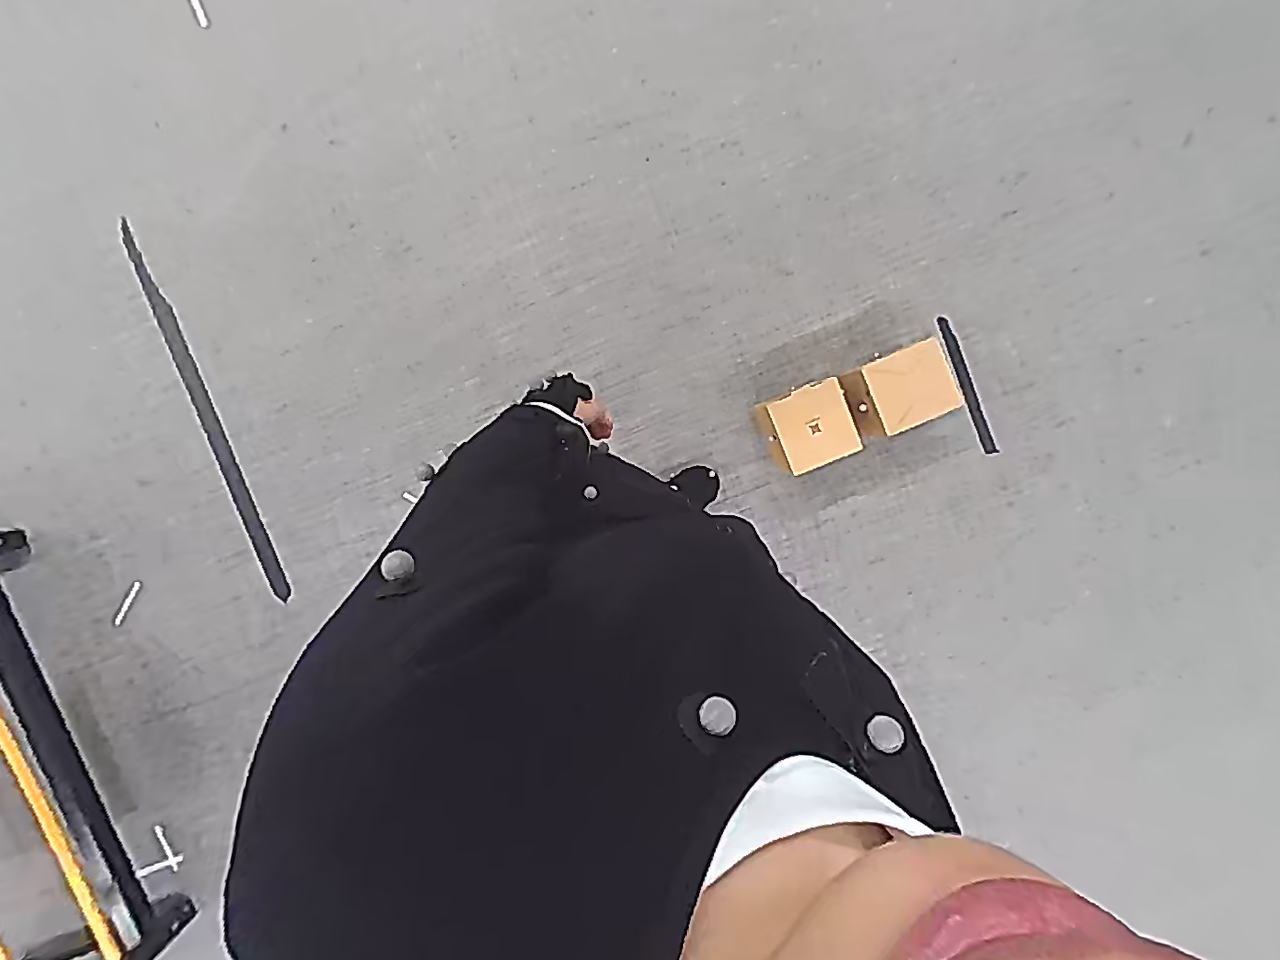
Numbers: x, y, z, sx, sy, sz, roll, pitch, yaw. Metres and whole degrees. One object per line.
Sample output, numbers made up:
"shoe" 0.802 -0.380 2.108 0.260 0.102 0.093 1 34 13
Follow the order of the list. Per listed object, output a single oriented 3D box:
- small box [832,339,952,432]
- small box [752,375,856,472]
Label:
"small box" 0.588 -0.219 1.268 0.179 0.176 0.168 -23 94 3
"small box" 0.382 -0.134 1.287 0.168 0.176 0.179 -22 94 4
